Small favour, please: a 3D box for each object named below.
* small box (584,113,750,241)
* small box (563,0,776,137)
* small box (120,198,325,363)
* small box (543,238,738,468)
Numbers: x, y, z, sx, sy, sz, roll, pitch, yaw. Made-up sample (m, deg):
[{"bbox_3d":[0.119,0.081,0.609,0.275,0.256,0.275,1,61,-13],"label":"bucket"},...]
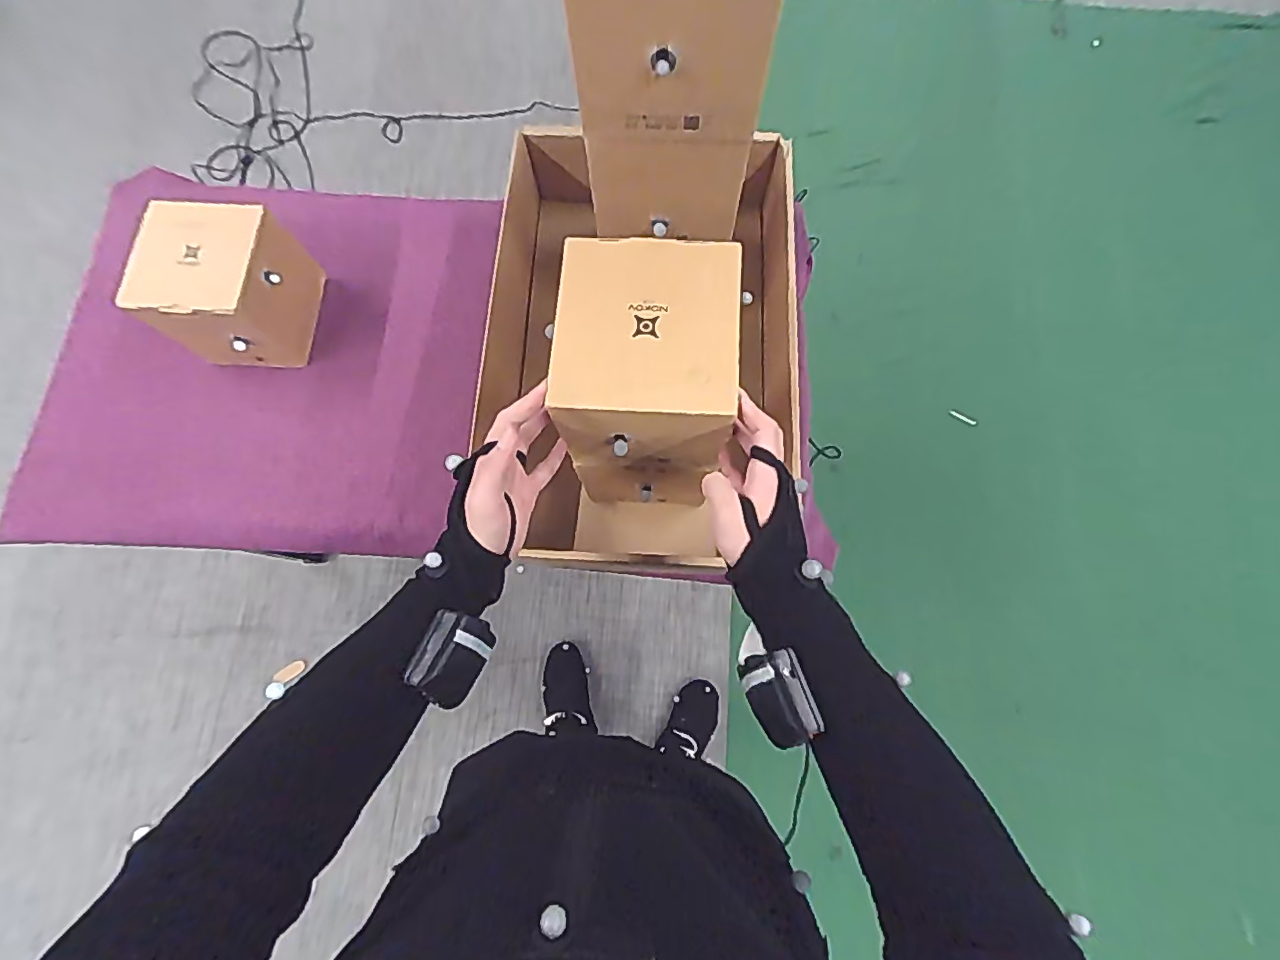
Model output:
[{"bbox_3d":[0.031,-0.393,0.624,0.168,0.176,0.179,1,77,2],"label":"small box"},{"bbox_3d":[0.028,-0.429,0.462,0.168,0.176,0.179,3,76,2],"label":"small box"},{"bbox_3d":[-0.618,-0.295,0.828,0.168,0.176,0.179,4,75,0],"label":"small box"},{"bbox_3d":[0.008,-0.118,0.555,0.168,0.176,0.179,3,74,3],"label":"small box"}]
